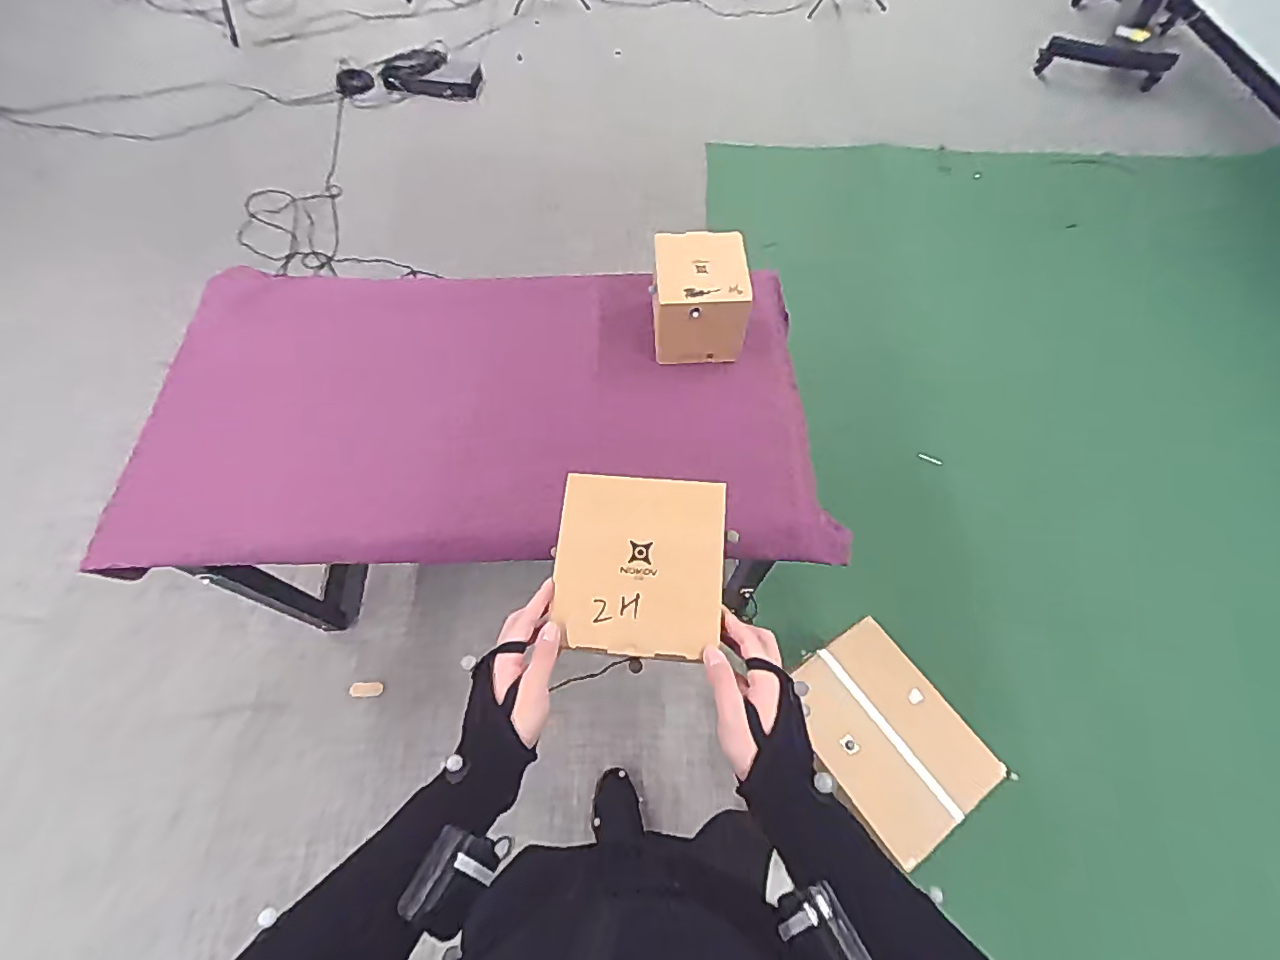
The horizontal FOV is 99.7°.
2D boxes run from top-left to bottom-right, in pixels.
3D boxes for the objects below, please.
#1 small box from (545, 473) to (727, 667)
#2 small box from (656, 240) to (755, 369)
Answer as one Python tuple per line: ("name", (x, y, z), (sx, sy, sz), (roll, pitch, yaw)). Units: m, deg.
("small box", (0.004, 0.107, 0.603), (0.168, 0.176, 0.179), (4, 70, 5))
("small box", (0.117, -0.336, 1.050), (0.168, 0.176, 0.179), (-2, 62, 0))
